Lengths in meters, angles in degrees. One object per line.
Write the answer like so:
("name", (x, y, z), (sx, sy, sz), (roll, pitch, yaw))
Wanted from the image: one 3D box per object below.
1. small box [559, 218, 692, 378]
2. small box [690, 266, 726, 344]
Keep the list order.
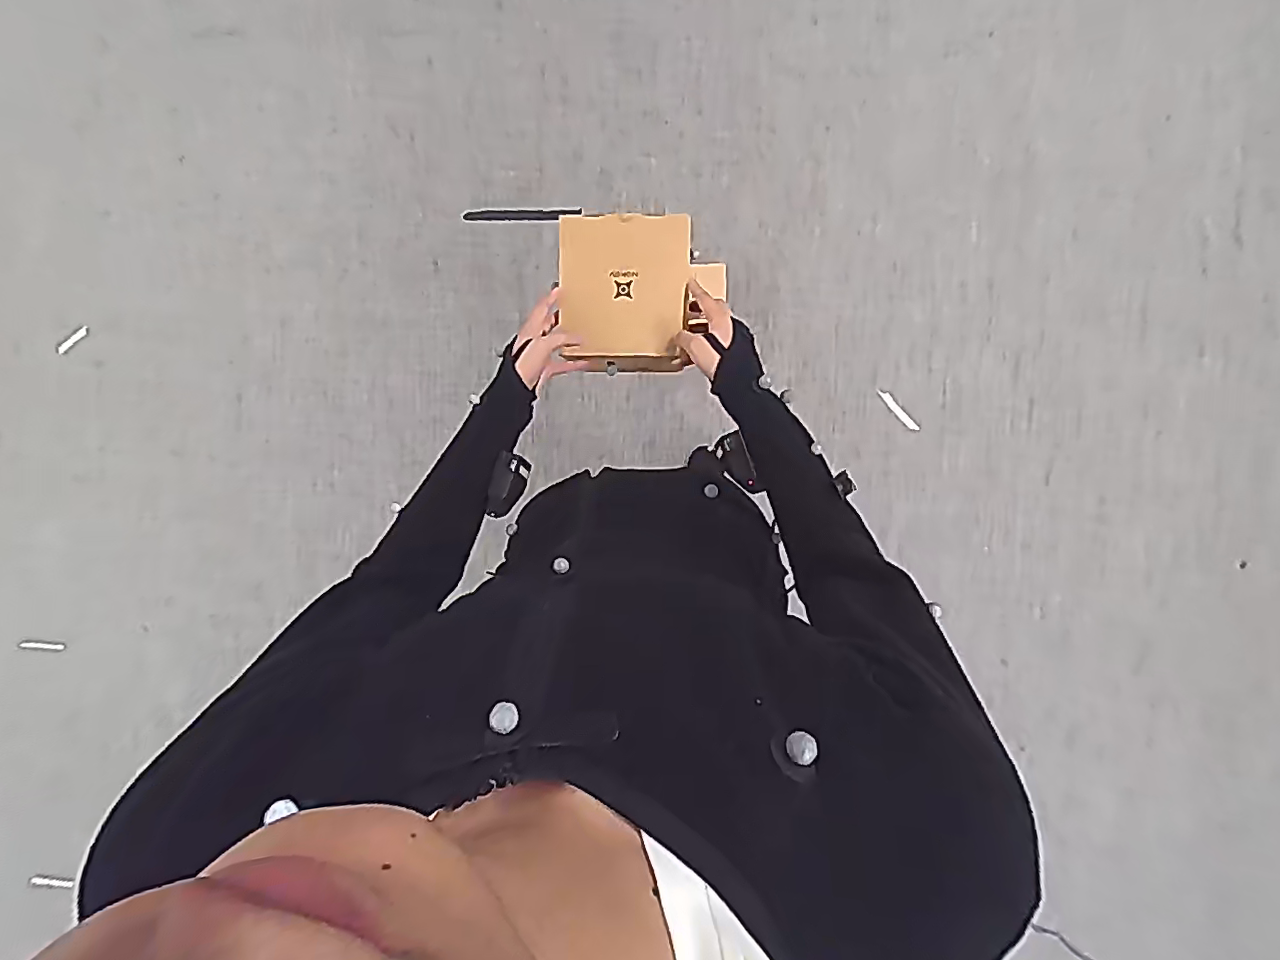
("small box", (-0.014, -0.236, 0.742), (0.168, 0.176, 0.179), (0, 93, 3))
("small box", (0.153, -0.482, 1.513), (0.168, 0.176, 0.179), (0, 91, 4))
